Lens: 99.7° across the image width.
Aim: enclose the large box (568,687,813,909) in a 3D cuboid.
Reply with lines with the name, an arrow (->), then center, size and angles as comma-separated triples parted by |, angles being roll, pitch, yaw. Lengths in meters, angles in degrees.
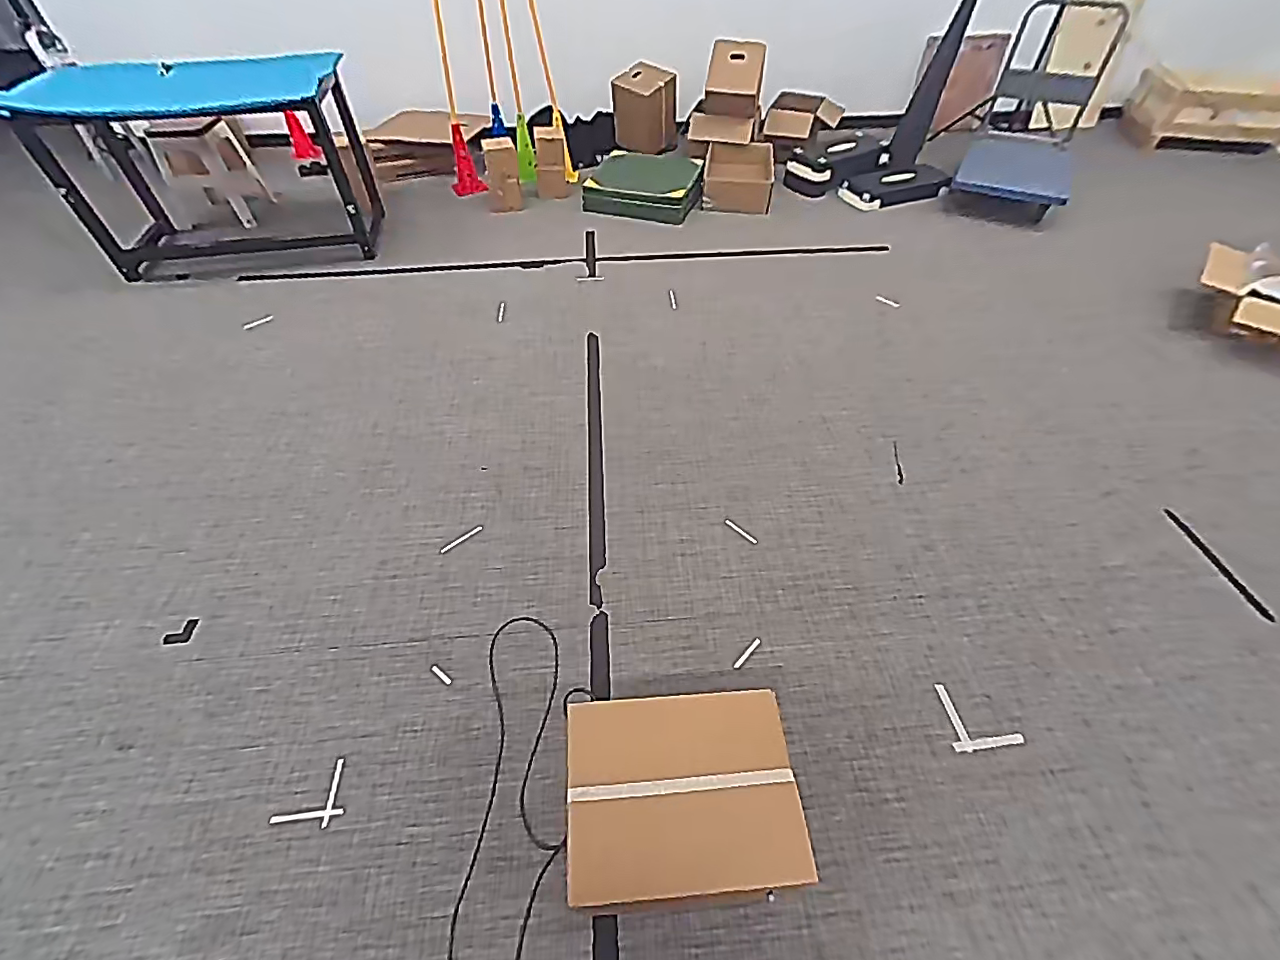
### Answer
large box -> 0.071, 0.634, 1.073 | 0.408, 0.320, 0.320 | -3, 49, -4
